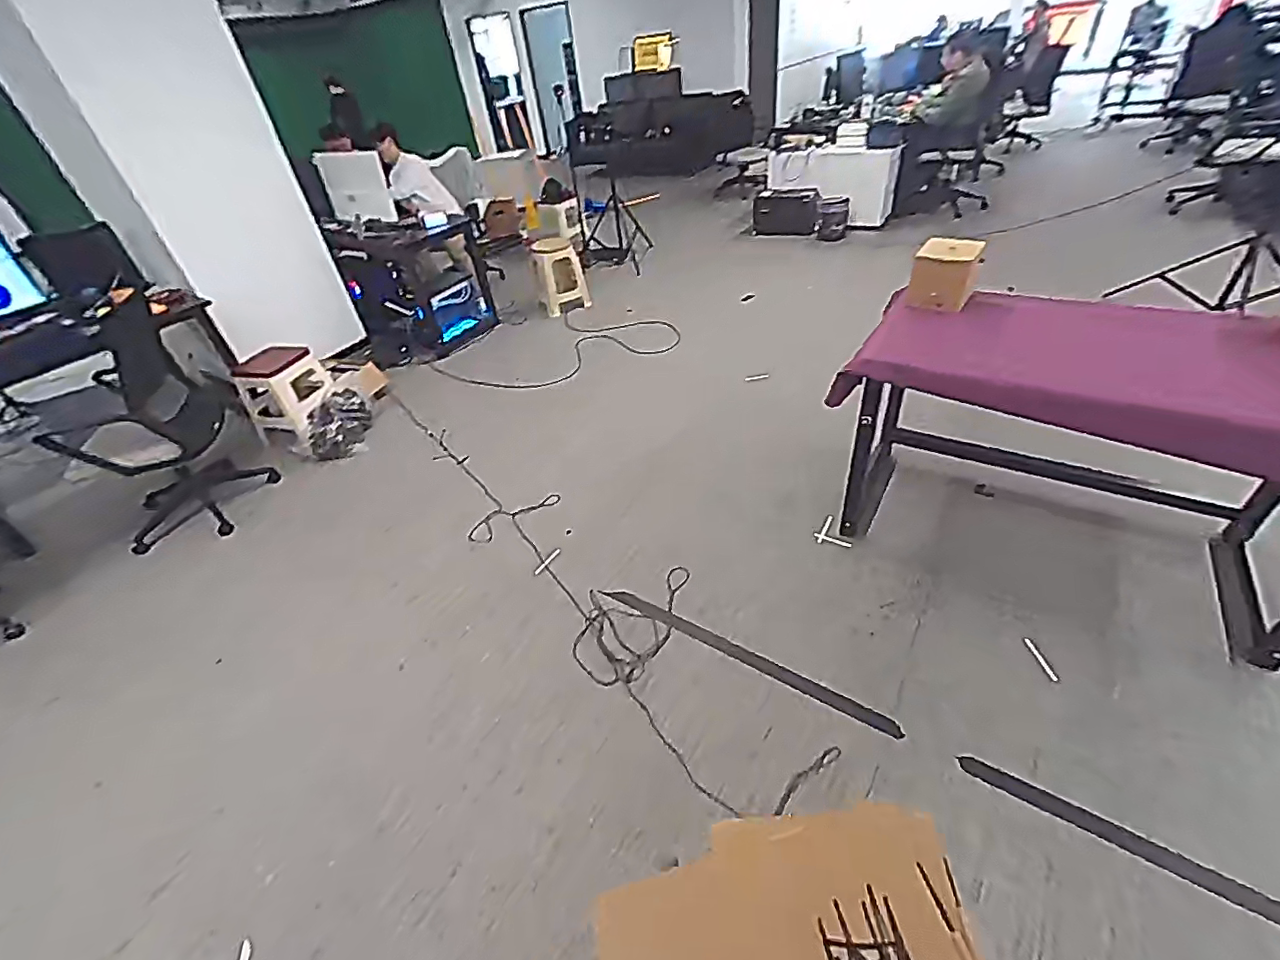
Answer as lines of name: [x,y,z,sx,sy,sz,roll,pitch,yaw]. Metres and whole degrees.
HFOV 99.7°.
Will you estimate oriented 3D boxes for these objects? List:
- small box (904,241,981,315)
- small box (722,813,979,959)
small box: [0.988,-0.664,1.775,0.168,0.176,0.179,22,50,32]
small box: [0.161,0.385,0.451,0.179,0.176,0.168,-4,51,7]
